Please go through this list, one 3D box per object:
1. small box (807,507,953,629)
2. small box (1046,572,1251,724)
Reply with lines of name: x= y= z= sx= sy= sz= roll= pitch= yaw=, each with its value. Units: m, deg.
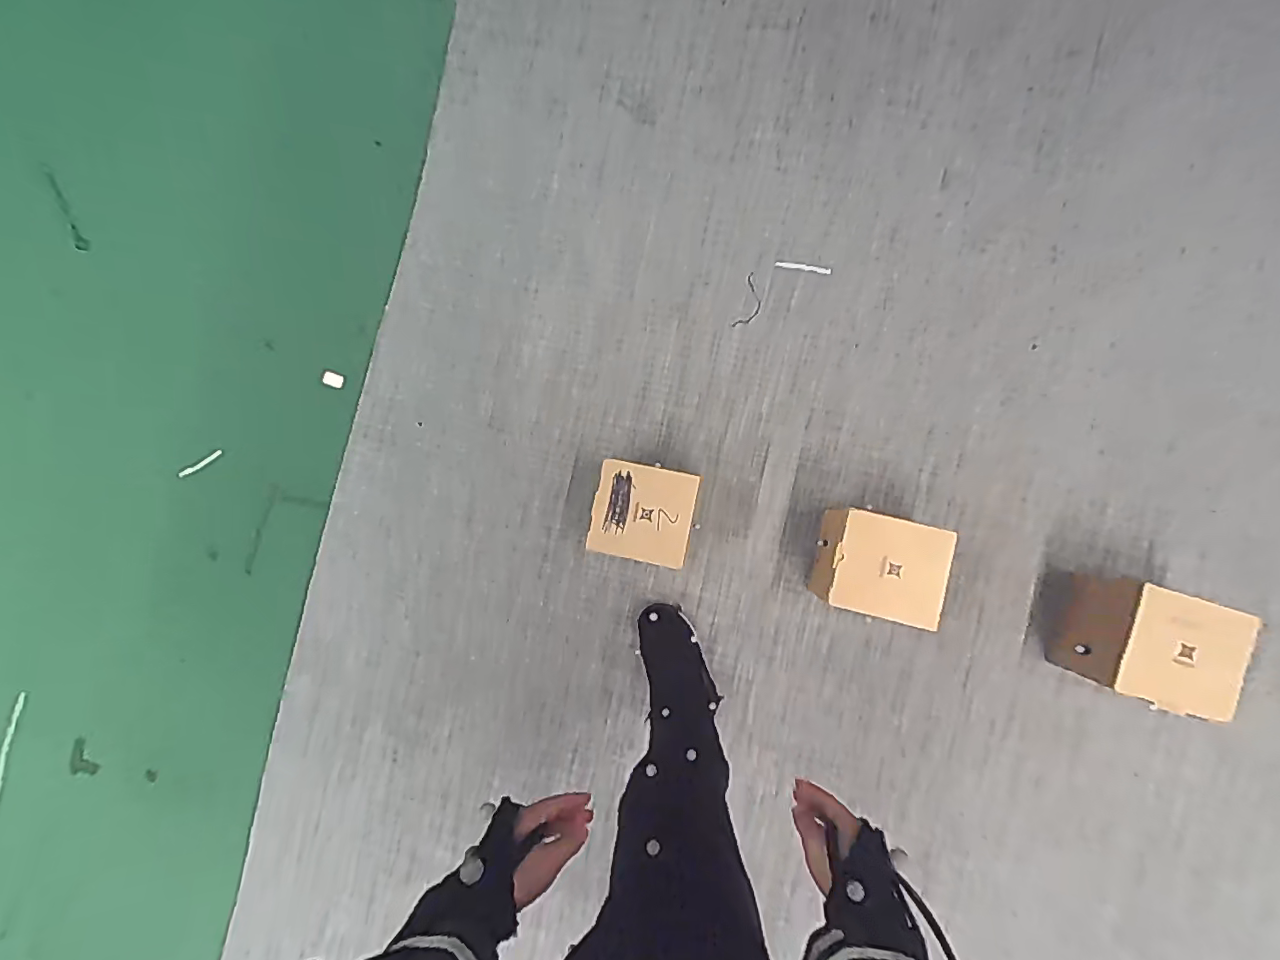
small box: x=0.412 y=0.145 z=0.955 sx=0.179 sy=0.176 sz=0.168 roll=13 pitch=88 yaw=8
small box: x=0.822 y=0.264 z=0.896 sx=0.168 sy=0.176 sz=0.179 roll=17 pitch=88 yaw=7
